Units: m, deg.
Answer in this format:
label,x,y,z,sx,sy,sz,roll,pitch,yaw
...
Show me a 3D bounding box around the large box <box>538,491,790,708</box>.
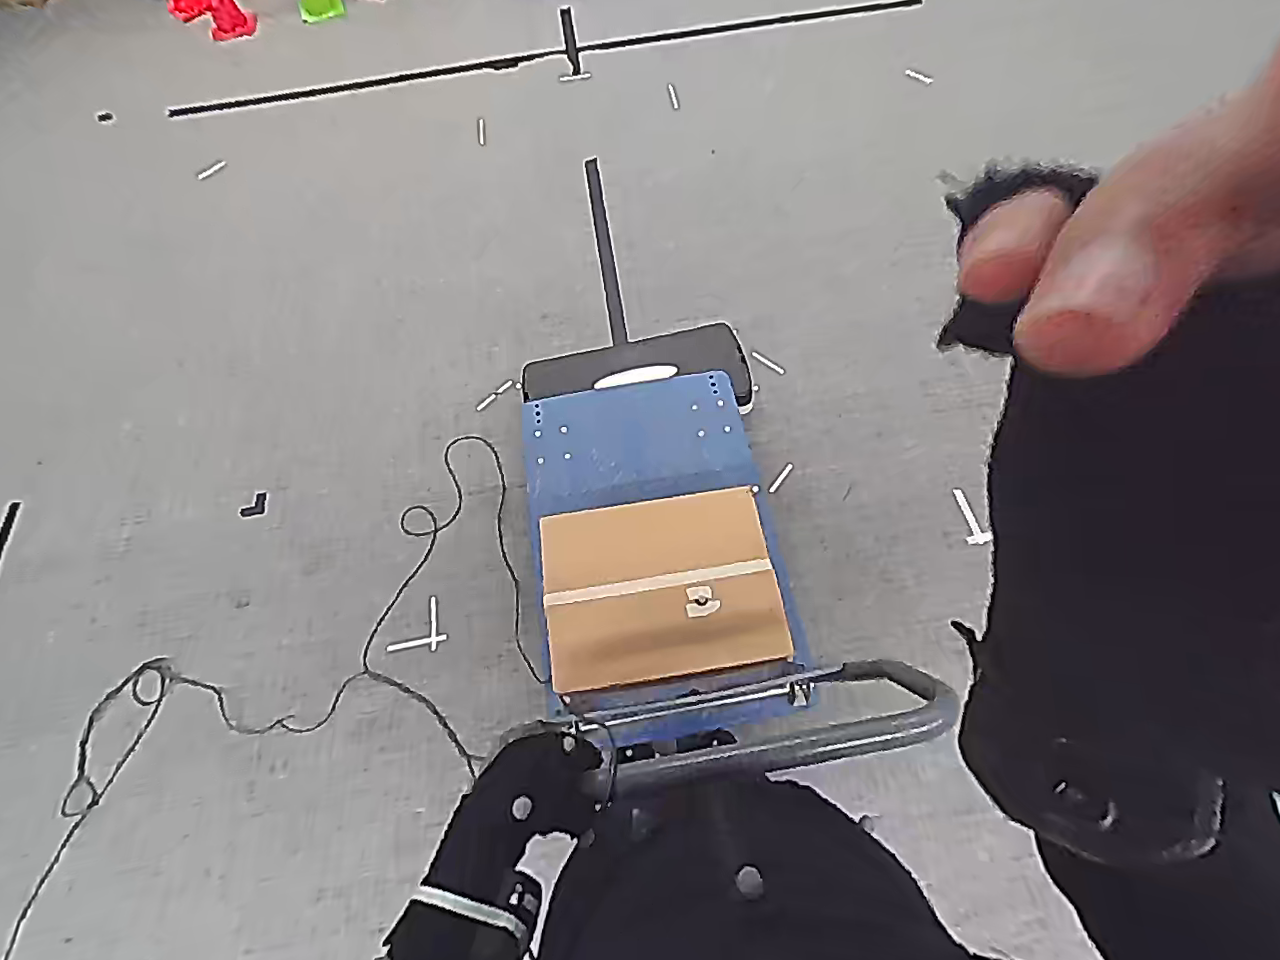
label,x,y,z,sx,sy,sz,roll,pitch,yaw
large box,0.032,0.252,1.080,0.408,0.320,0.320,-9,66,-3
